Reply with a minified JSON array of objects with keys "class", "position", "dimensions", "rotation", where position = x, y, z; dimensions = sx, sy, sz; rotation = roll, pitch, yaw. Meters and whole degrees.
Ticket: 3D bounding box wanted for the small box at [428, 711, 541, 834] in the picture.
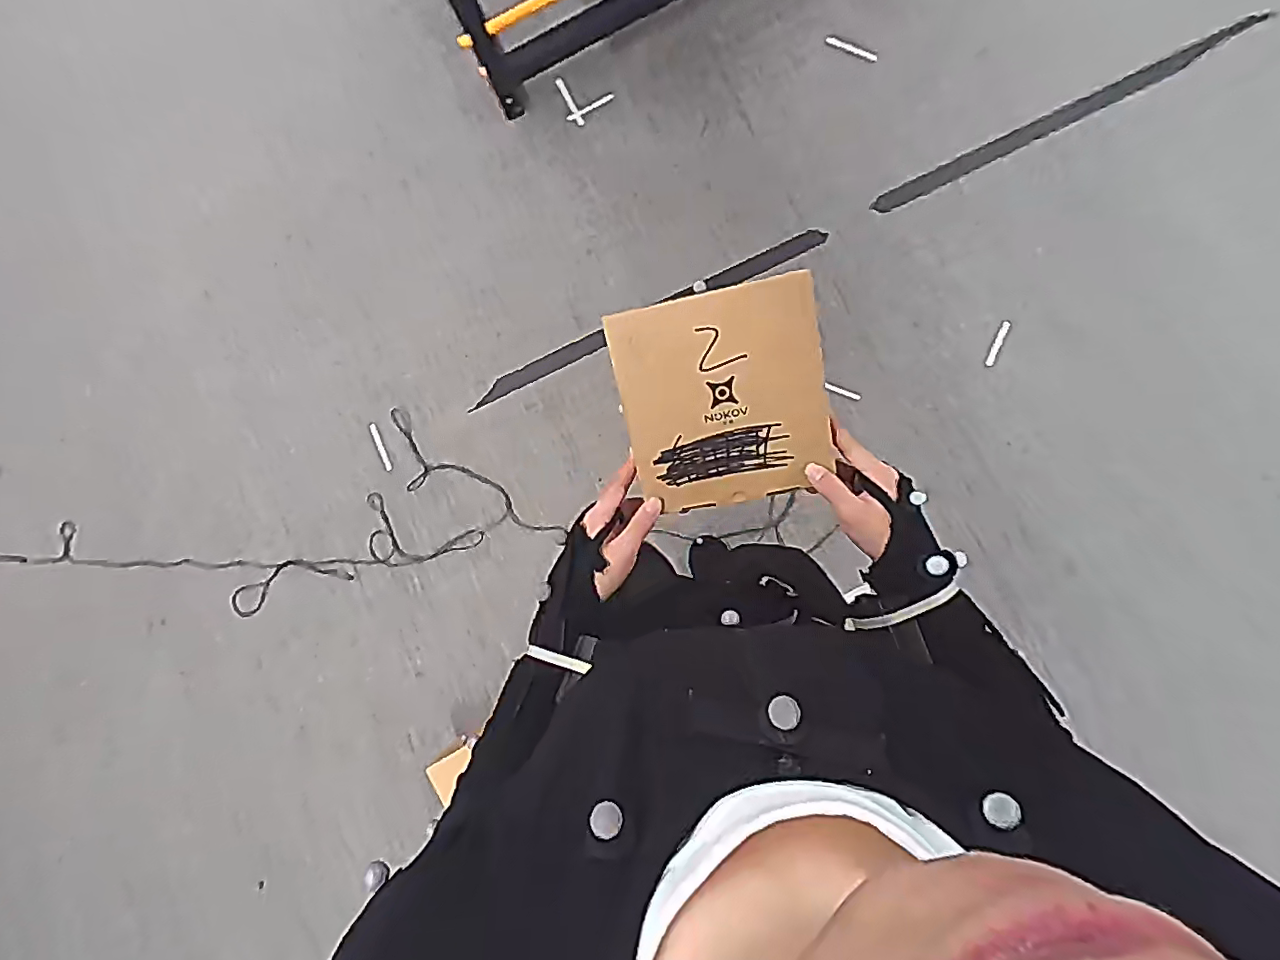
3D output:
[{"class":"small box","position":[-0.364,0.692,1.299],"dimensions":[0.179,0.176,0.168],"rotation":[-31,84,2]}]
